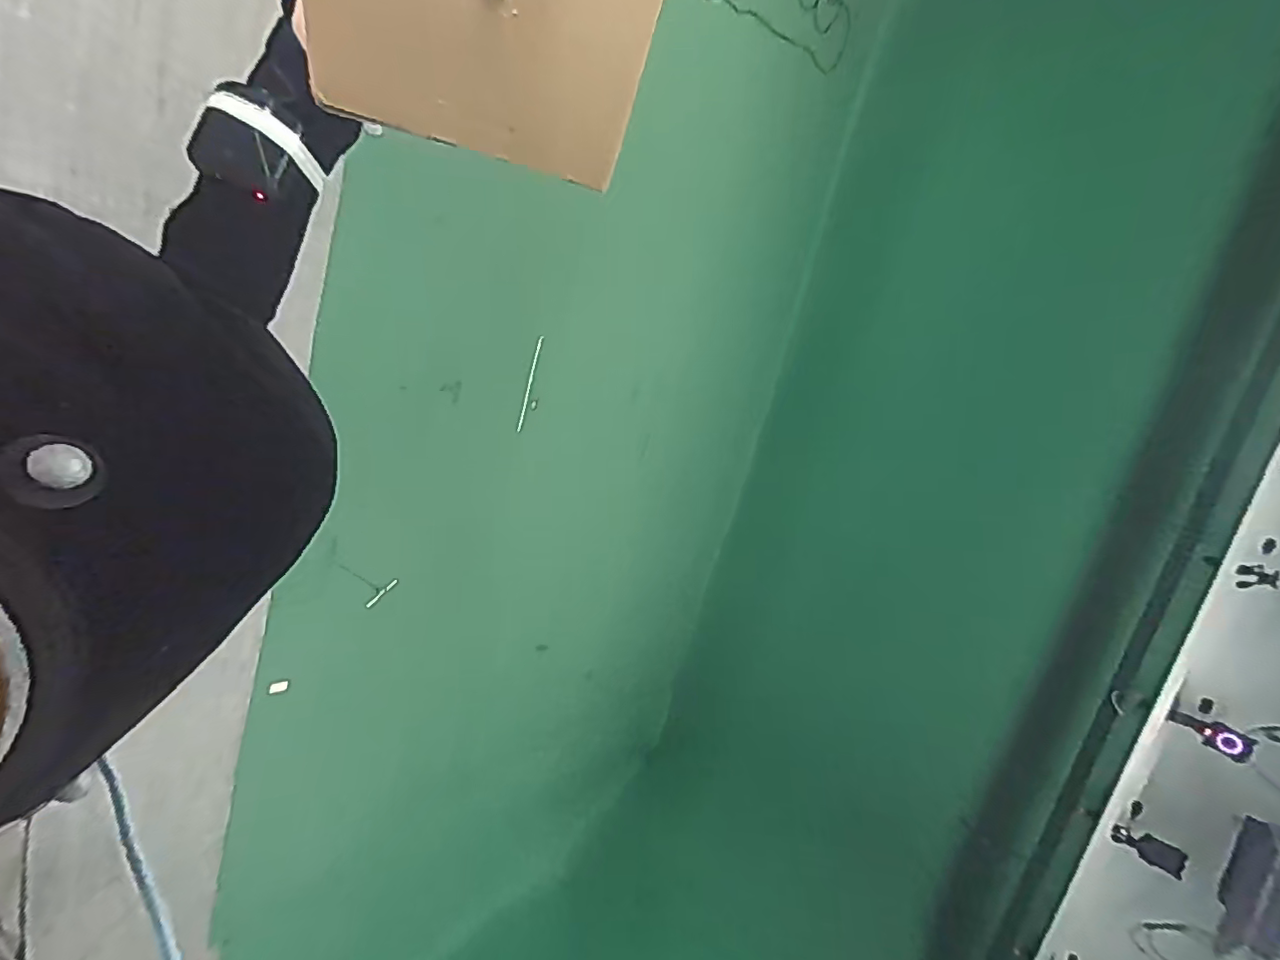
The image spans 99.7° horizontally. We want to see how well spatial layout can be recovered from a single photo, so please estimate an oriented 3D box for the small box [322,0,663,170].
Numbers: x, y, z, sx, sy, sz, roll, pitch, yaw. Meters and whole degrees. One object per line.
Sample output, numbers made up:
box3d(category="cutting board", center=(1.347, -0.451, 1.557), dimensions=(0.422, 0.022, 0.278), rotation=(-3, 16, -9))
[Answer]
box3d(category="small box", center=(-0.074, -0.314, 0.300), dimensions=(0.168, 0.179, 0.176), rotation=(8, 139, -19))
